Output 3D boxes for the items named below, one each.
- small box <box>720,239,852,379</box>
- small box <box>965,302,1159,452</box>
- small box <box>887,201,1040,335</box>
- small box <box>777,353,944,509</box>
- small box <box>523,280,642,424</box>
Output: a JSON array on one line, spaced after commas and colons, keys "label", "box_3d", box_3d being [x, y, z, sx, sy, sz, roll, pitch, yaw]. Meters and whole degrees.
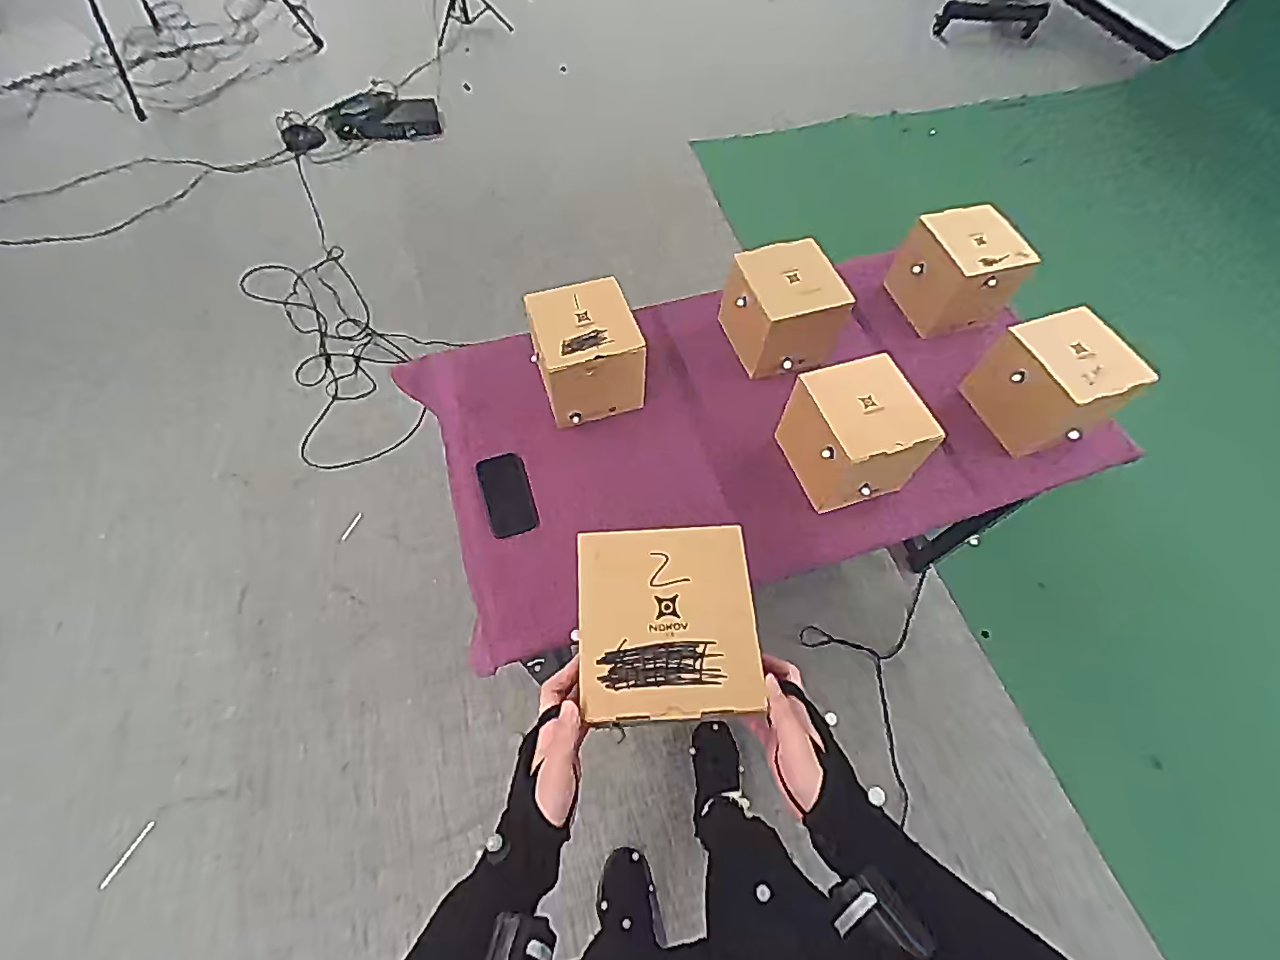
[{"label": "small box", "box_3d": [0.265, -0.324, 1.035, 0.168, 0.176, 0.179, -16, 64, -9]}, {"label": "small box", "box_3d": [0.726, -0.178, 0.958, 0.168, 0.176, 0.179, -18, 63, -8]}, {"label": "small box", "box_3d": [0.638, -0.426, 1.096, 0.168, 0.176, 0.179, -15, 62, -8]}, {"label": "small box", "box_3d": [0.351, -0.078, 0.901, 0.168, 0.176, 0.179, -16, 62, -10]}, {"label": "small box", "box_3d": [-0.098, -0.220, 0.969, 0.168, 0.176, 0.179, -17, 63, -10]}]
